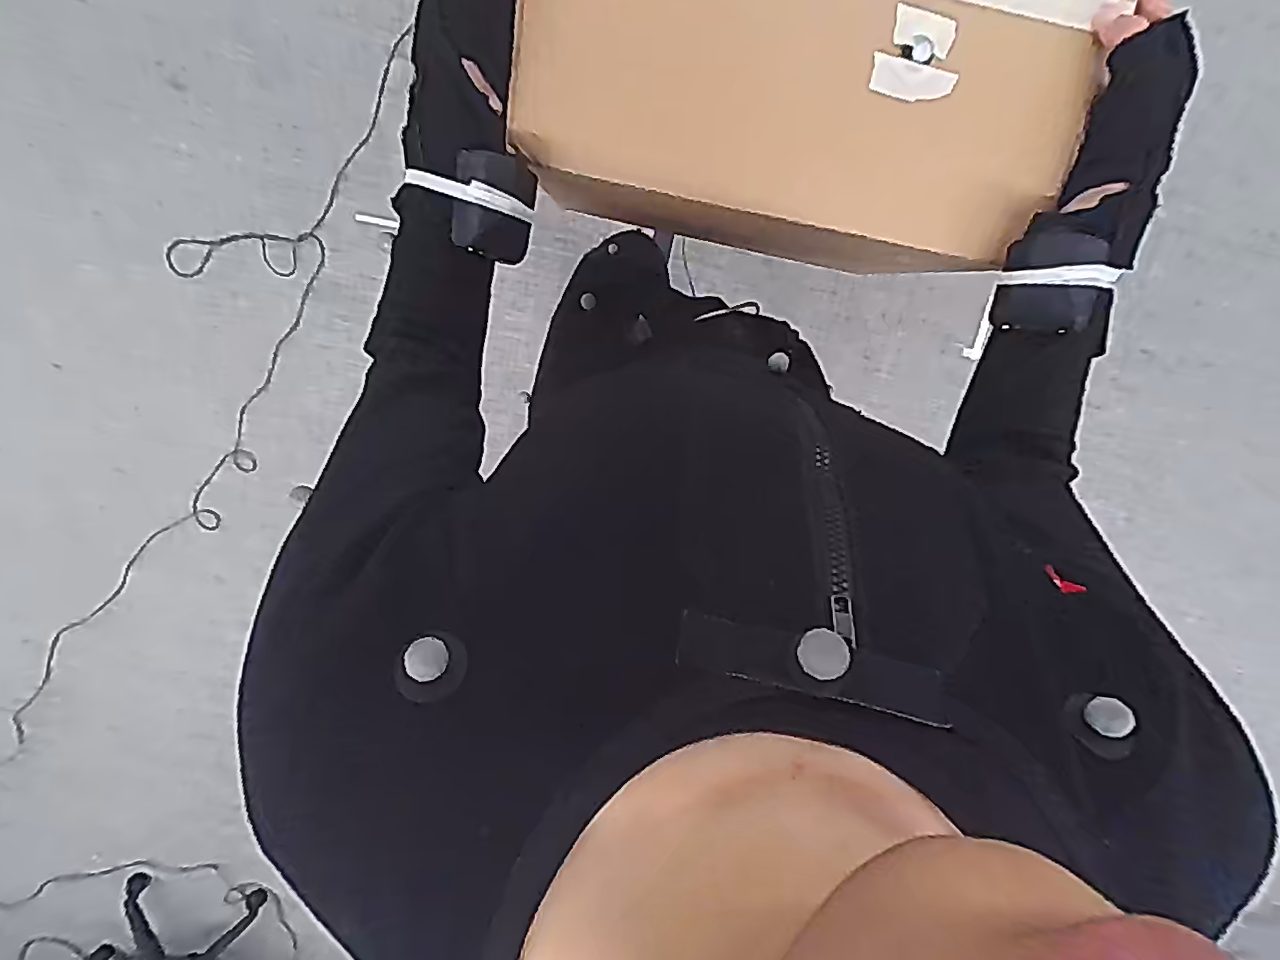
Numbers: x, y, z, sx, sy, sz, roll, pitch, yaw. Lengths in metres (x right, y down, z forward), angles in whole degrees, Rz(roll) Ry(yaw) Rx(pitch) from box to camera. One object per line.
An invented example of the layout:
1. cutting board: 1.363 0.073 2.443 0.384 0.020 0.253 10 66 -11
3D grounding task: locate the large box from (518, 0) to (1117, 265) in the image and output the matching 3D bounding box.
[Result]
1. large box: 0.123 -0.397 0.499 0.408 0.320 0.320 9 111 -6
